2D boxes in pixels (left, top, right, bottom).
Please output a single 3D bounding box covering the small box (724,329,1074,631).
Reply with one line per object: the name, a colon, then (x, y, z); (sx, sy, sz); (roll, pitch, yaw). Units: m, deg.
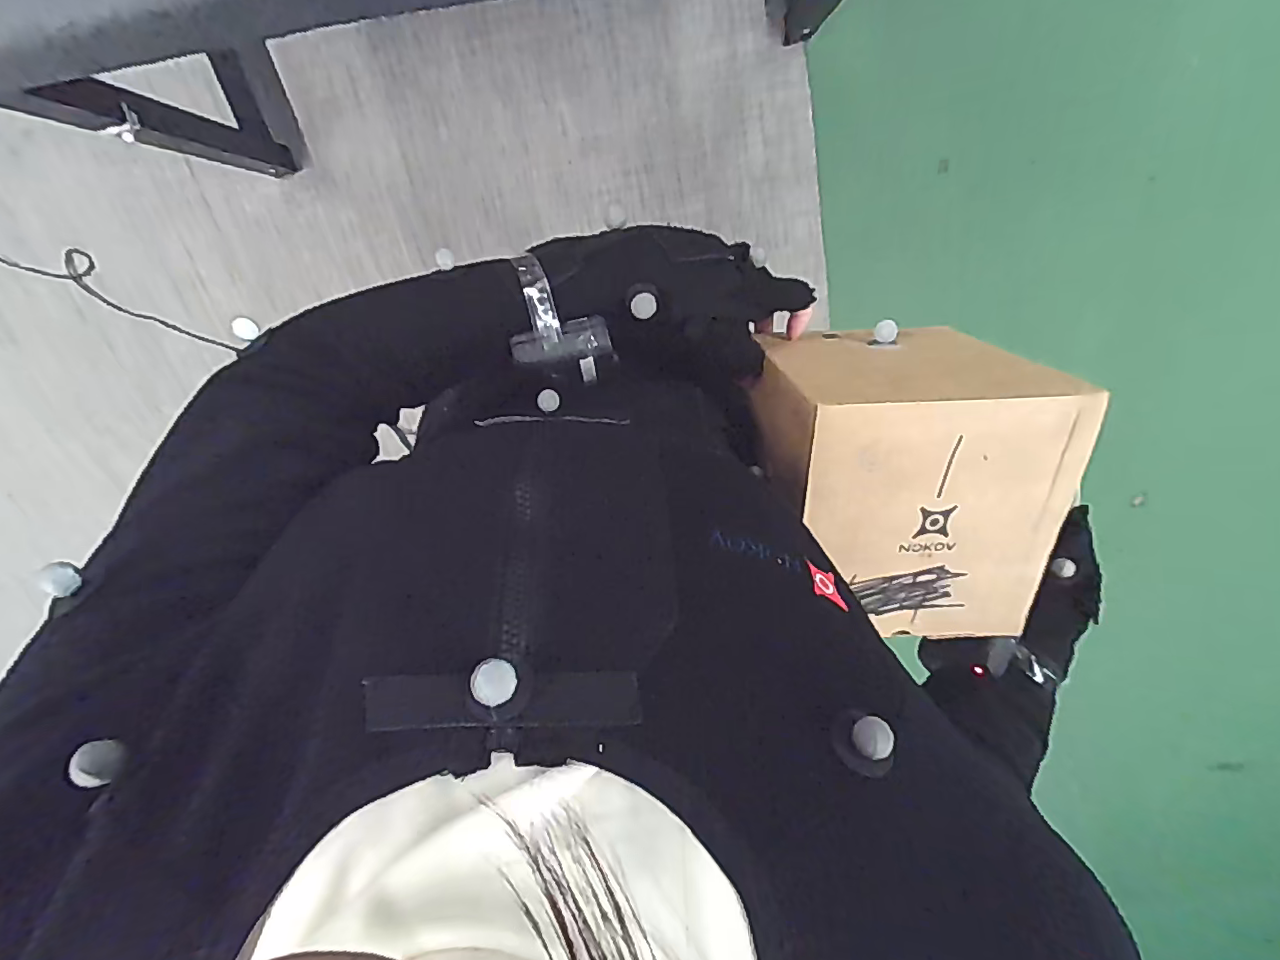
small box: (0.163, -0.008, 0.414); (0.168, 0.176, 0.179); (-1, 117, -3)
